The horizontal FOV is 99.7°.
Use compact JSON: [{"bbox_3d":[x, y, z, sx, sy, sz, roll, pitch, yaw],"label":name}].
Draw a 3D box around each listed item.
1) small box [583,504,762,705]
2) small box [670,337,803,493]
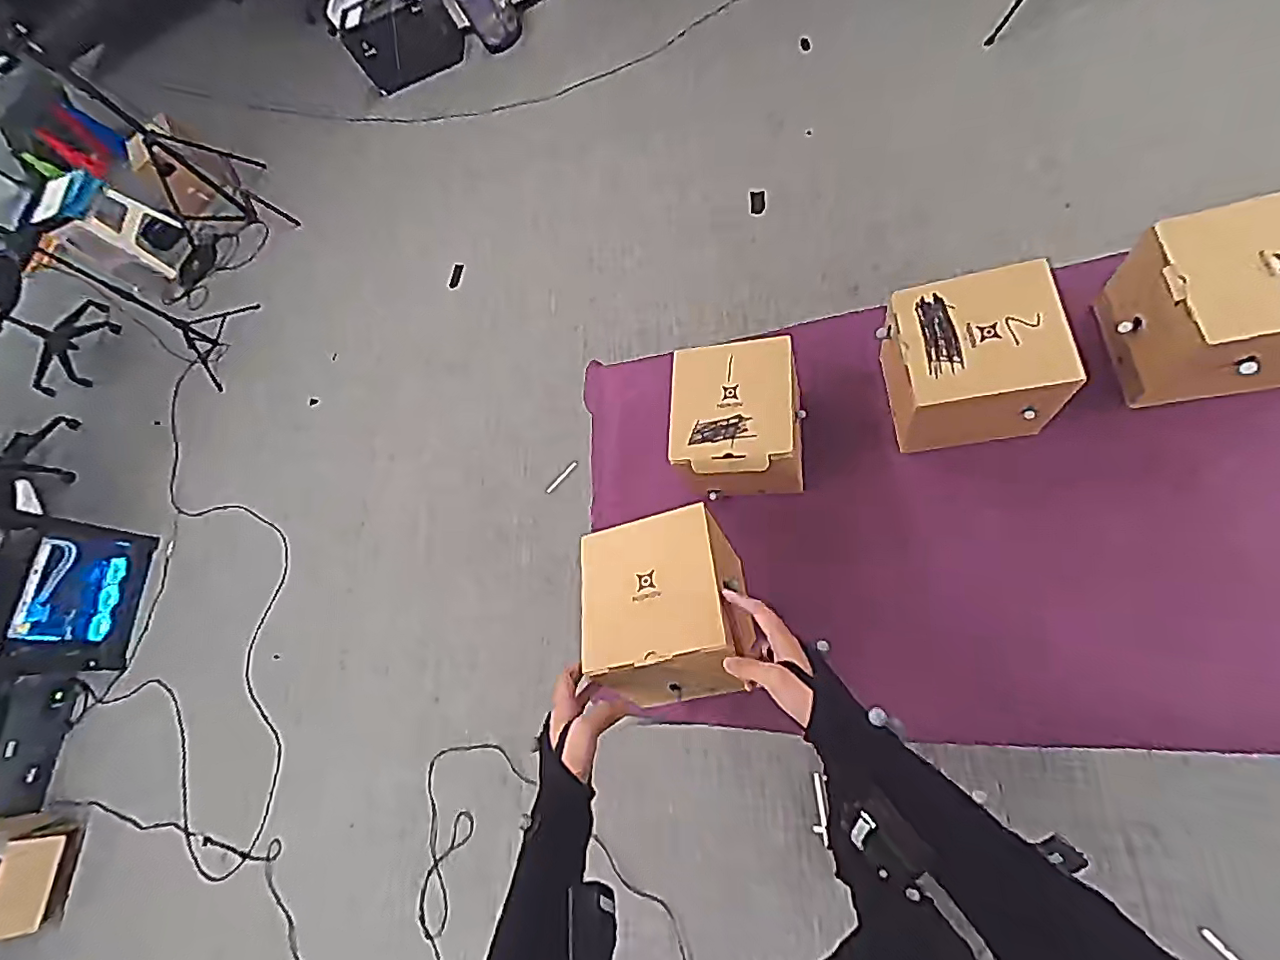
[{"bbox_3d":[0.041,0.160,0.670,0.168,0.176,0.179,-18,52,17],"label":"small box"},{"bbox_3d":[0.148,-0.083,0.794,0.168,0.176,0.179,-3,71,19],"label":"small box"}]
